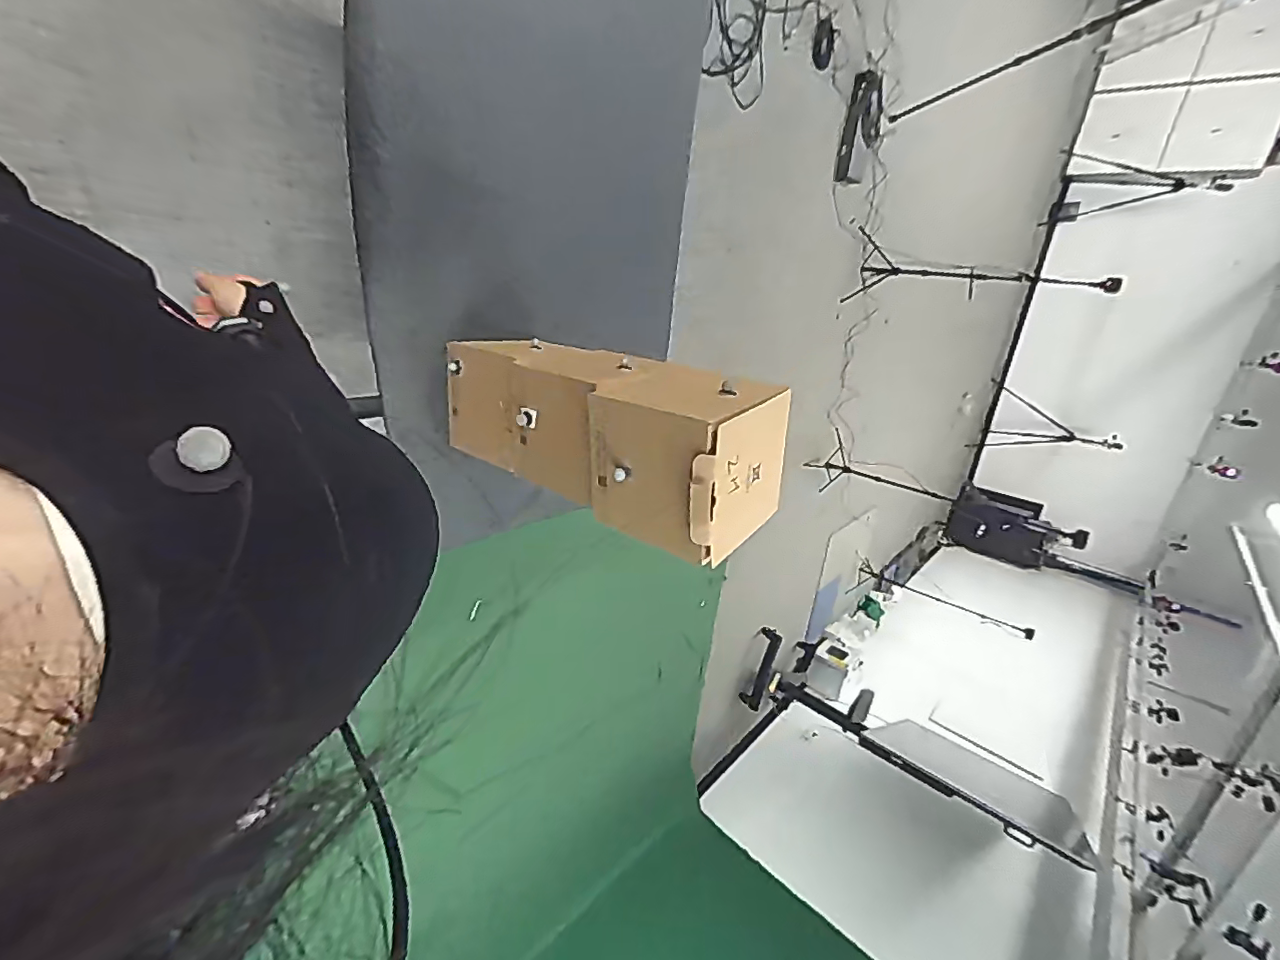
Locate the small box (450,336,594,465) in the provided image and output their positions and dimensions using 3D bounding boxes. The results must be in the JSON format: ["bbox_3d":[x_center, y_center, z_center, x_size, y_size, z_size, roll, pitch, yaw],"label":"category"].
[{"bbox_3d":[-0.183,-0.133,0.853,0.179,0.176,0.168,-19,120,-49],"label":"small box"}]

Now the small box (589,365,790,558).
[{"bbox_3d":[0.058,-0.036,0.653,0.179,0.176,0.168,-26,124,-44],"label":"small box"}]

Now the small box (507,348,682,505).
[{"bbox_3d":[-0.062,-0.087,0.755,0.179,0.176,0.168,-22,122,-45],"label":"small box"}]
